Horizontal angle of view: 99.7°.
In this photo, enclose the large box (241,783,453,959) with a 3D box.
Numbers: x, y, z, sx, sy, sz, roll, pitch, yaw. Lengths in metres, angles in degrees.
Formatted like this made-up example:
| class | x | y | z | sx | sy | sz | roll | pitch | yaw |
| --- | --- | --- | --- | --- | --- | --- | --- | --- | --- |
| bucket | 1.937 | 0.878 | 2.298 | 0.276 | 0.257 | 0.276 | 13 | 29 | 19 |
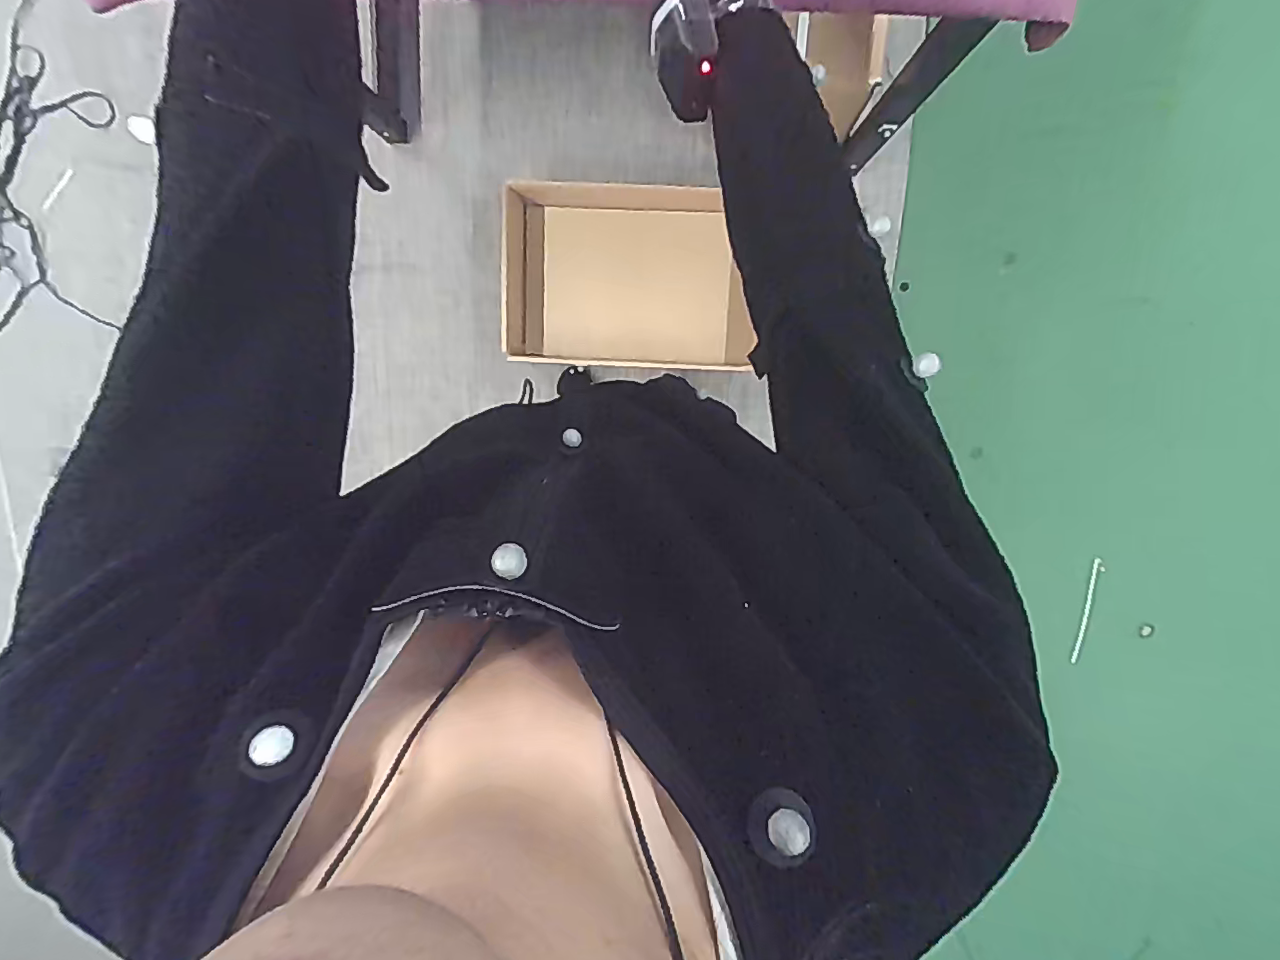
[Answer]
| class | x | y | z | sx | sy | sz | roll | pitch | yaw |
| --- | --- | --- | --- | --- | --- | --- | --- | --- | --- |
| large box | -0.854 | 1.221 | 1.627 | 0.408 | 0.320 | 0.320 | 33 | 100 | -2 |
